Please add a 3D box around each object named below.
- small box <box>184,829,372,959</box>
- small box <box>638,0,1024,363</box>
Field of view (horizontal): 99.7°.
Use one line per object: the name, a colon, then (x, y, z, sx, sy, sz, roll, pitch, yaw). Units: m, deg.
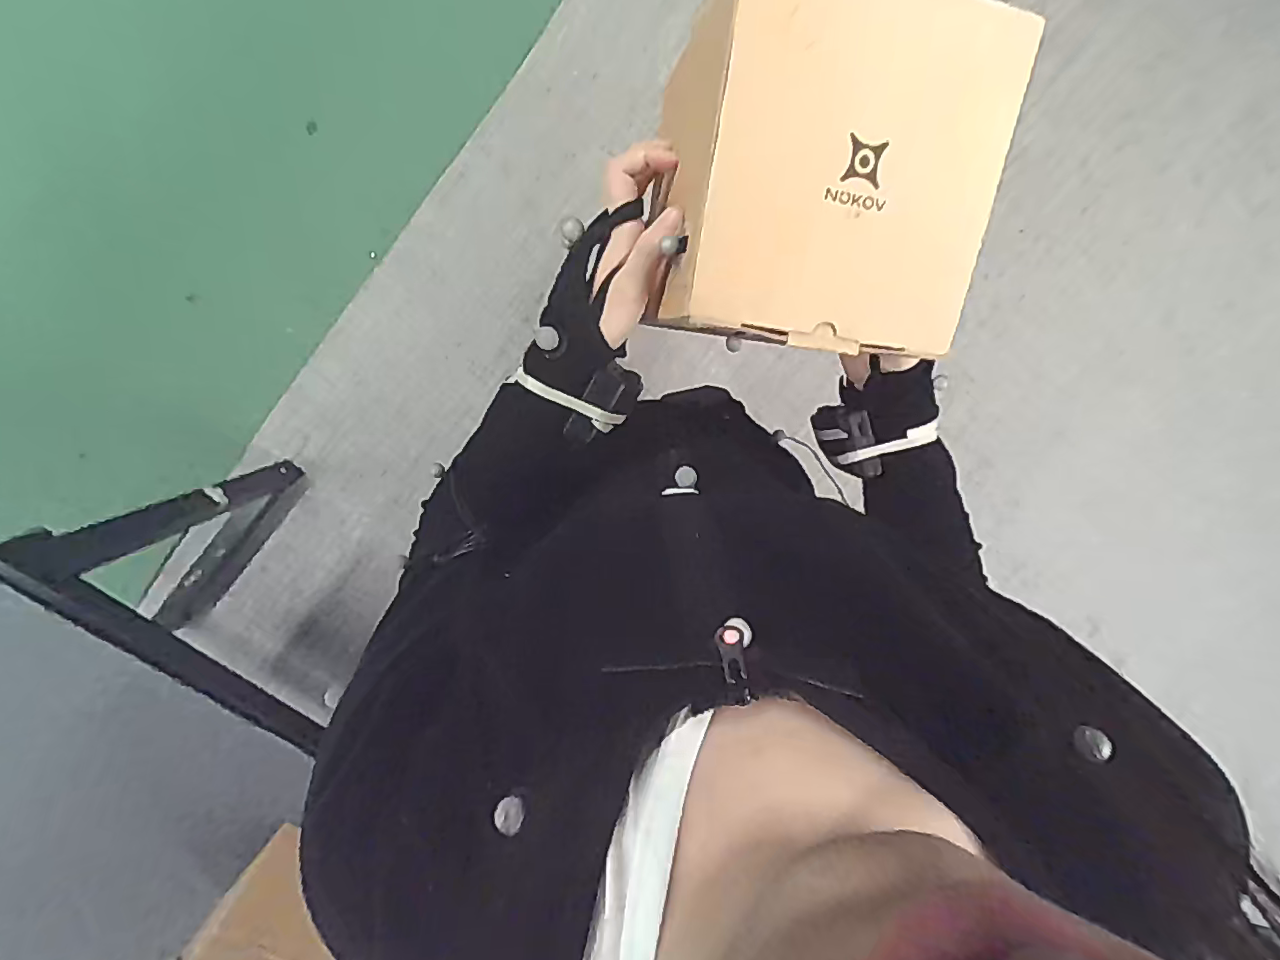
small box: (-0.517, 0.650, 0.761, 0.168, 0.176, 0.179, 38, 97, -13)
small box: (0.100, -0.184, 0.367, 0.168, 0.176, 0.179, 5, 106, -12)
